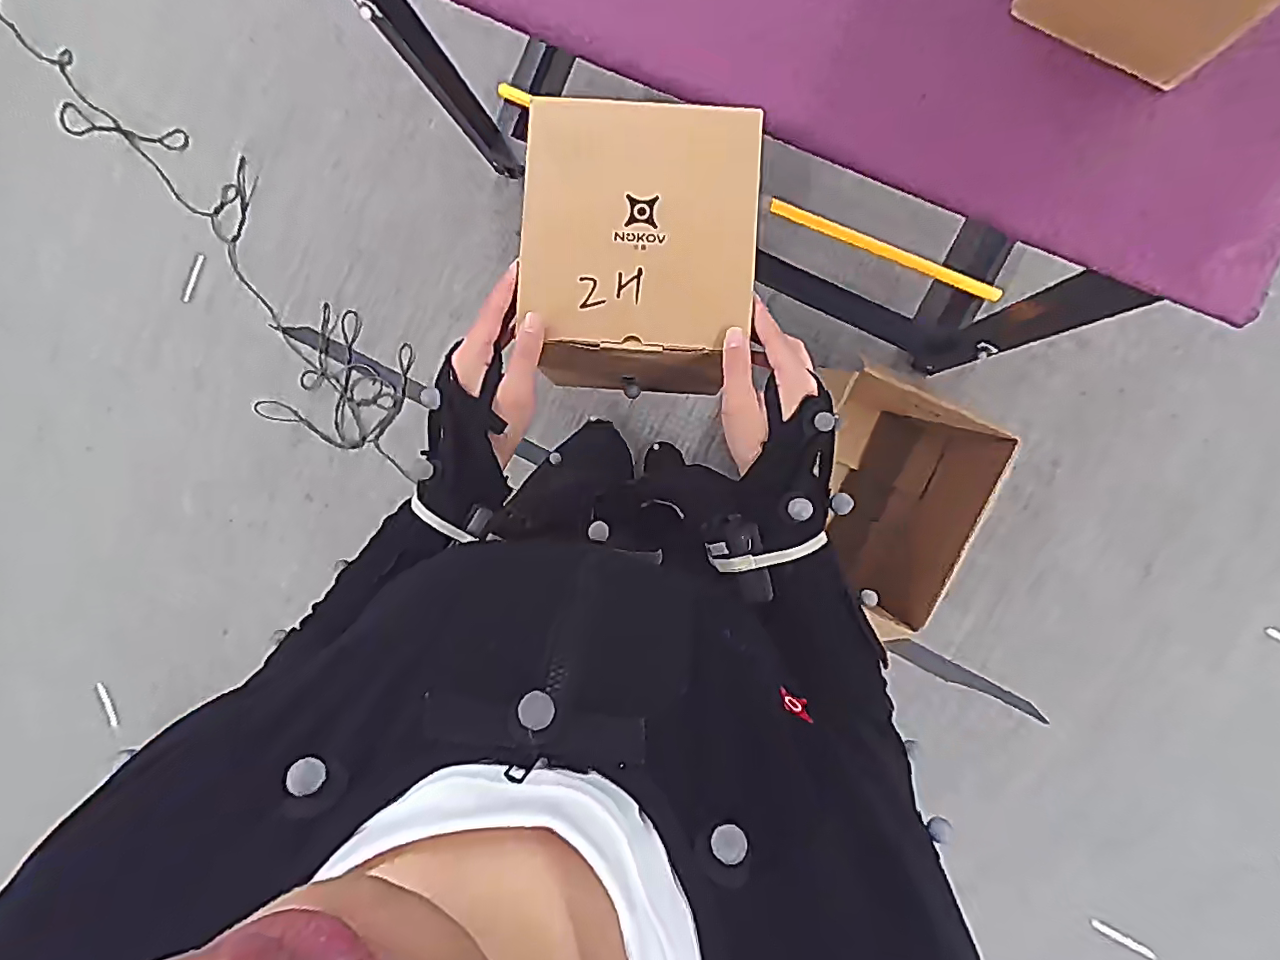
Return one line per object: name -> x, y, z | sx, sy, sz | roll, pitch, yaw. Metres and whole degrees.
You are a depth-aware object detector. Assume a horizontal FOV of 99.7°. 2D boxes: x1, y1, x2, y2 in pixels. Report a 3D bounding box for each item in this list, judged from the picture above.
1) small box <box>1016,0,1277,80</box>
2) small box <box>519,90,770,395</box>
small box -> 0.480, -0.492, 0.456 | 0.179, 0.176, 0.168 | 32, 96, 5
small box -> 0.004, -0.179, 0.456 | 0.168, 0.176, 0.179 | 4, 89, 1
